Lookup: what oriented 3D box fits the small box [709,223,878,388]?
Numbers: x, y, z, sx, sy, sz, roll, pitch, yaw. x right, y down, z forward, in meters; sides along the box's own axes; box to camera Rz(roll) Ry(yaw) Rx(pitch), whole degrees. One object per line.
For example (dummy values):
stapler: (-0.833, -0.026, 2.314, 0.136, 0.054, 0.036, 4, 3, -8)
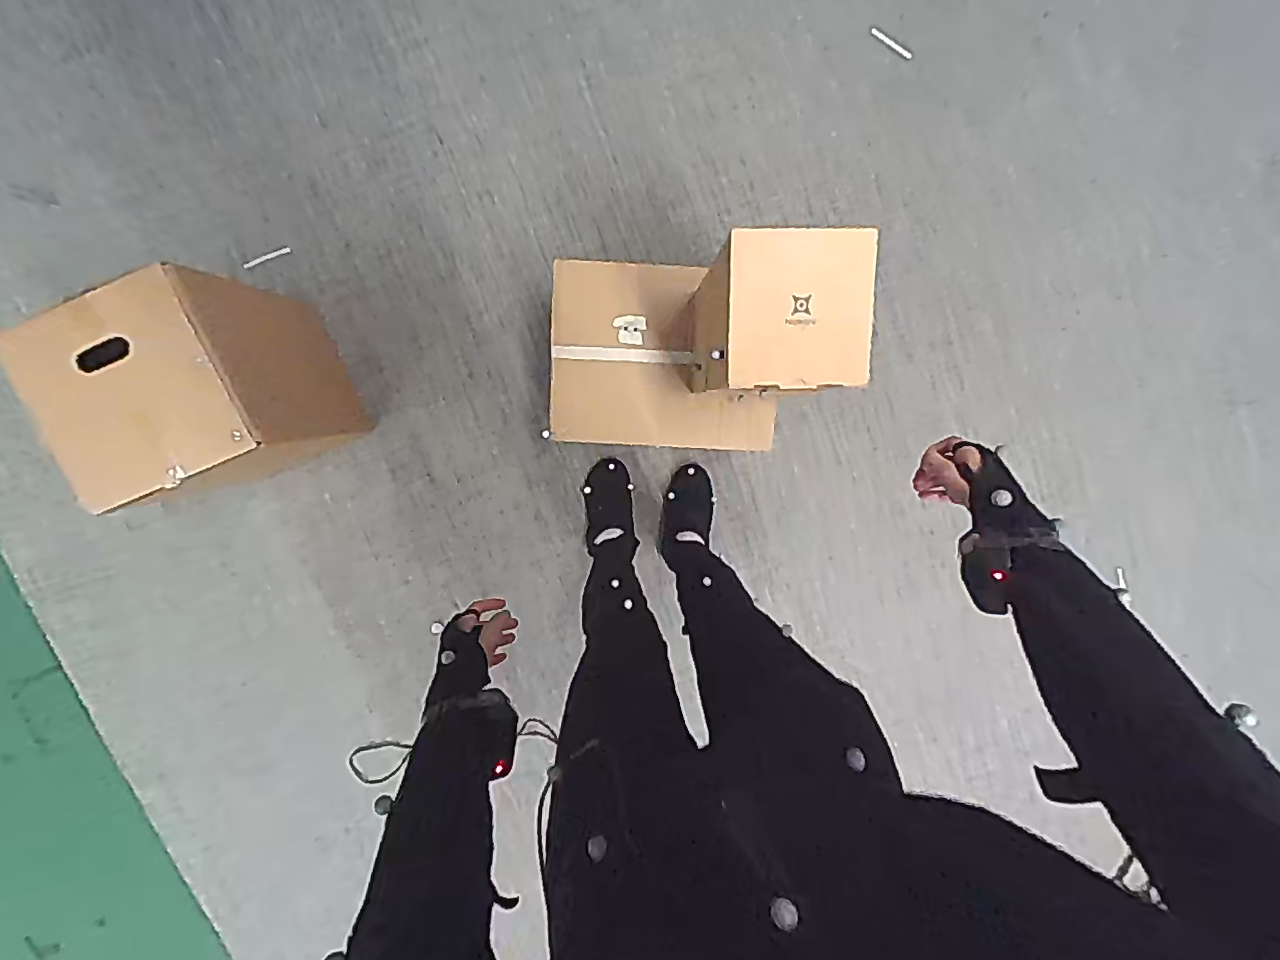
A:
small box: (0.181, -0.209, 0.688, 0.168, 0.176, 0.179, -1, 99, -1)
